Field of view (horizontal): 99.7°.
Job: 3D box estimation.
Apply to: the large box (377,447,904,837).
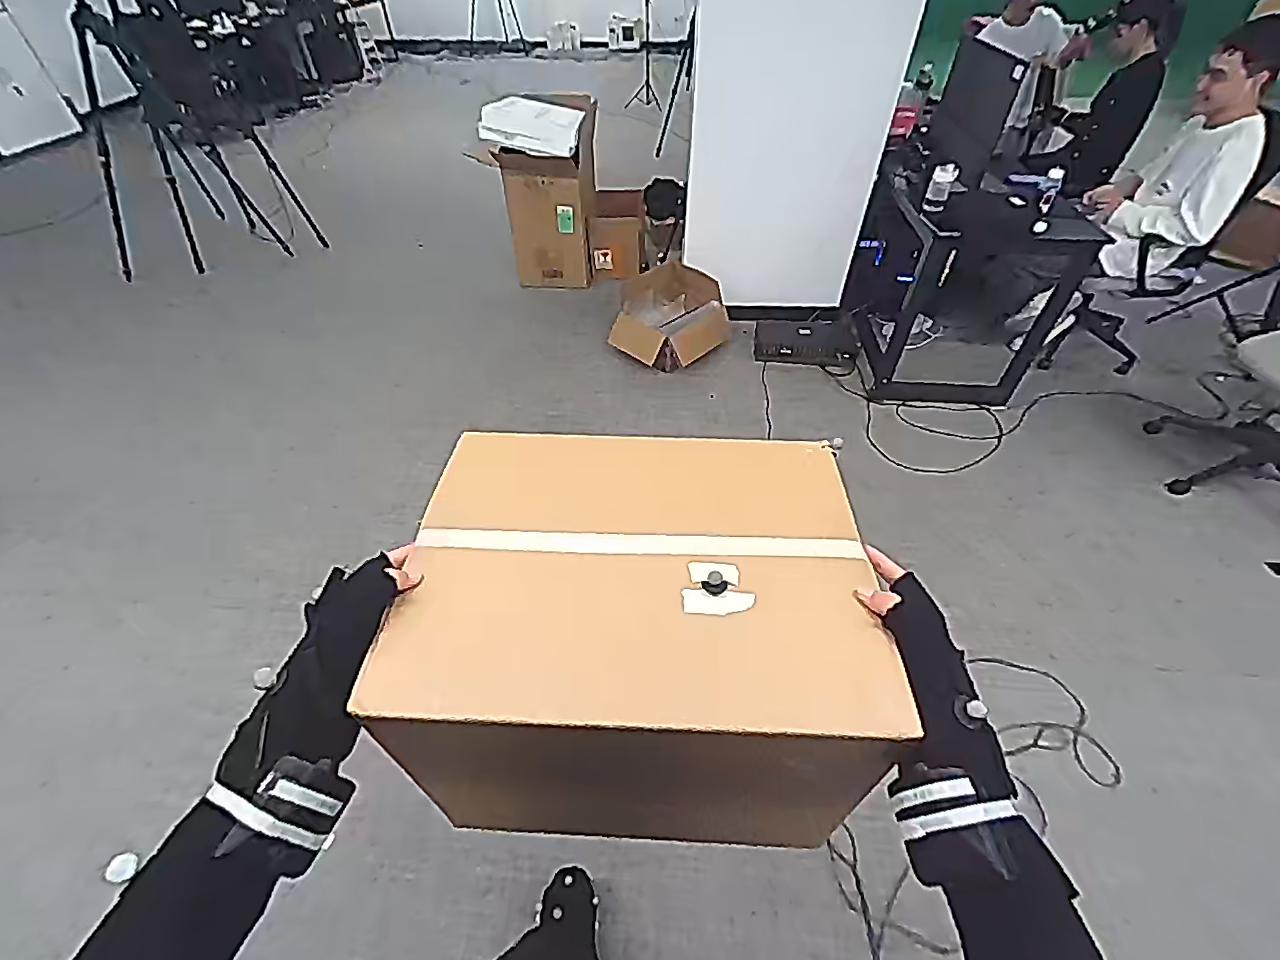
[{"bbox_3d":[0.002,0.179,0.608,0.408,0.320,0.320,2,44,2],"label":"large box"}]
